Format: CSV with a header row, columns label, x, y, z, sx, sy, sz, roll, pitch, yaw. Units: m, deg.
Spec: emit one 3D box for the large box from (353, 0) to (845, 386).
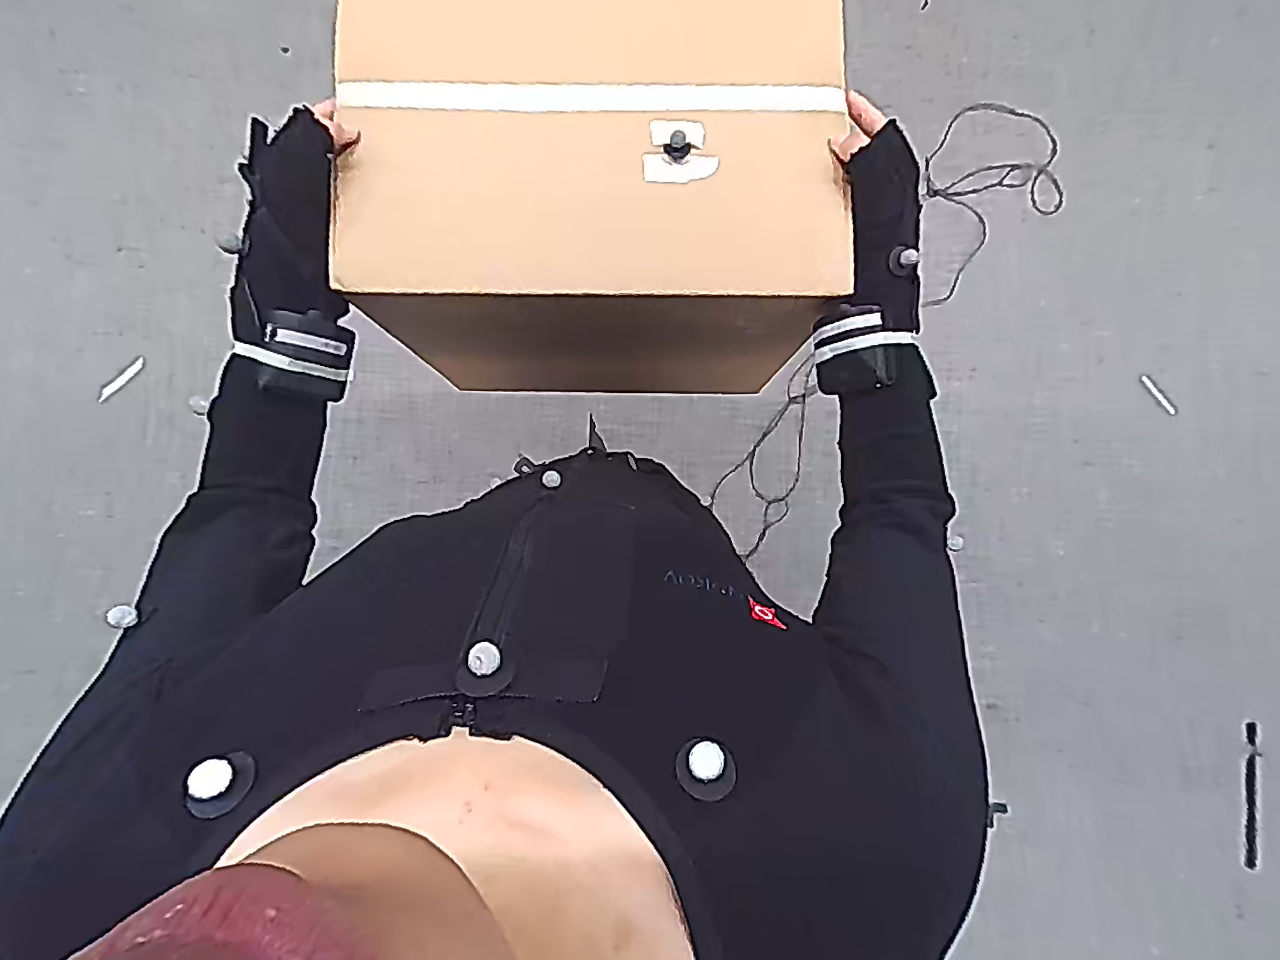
label,x,y,z,sx,sy,sz,roll,pitch,yaw
large box,-0.038,-0.295,0.596,0.408,0.320,0.320,0,85,-1
